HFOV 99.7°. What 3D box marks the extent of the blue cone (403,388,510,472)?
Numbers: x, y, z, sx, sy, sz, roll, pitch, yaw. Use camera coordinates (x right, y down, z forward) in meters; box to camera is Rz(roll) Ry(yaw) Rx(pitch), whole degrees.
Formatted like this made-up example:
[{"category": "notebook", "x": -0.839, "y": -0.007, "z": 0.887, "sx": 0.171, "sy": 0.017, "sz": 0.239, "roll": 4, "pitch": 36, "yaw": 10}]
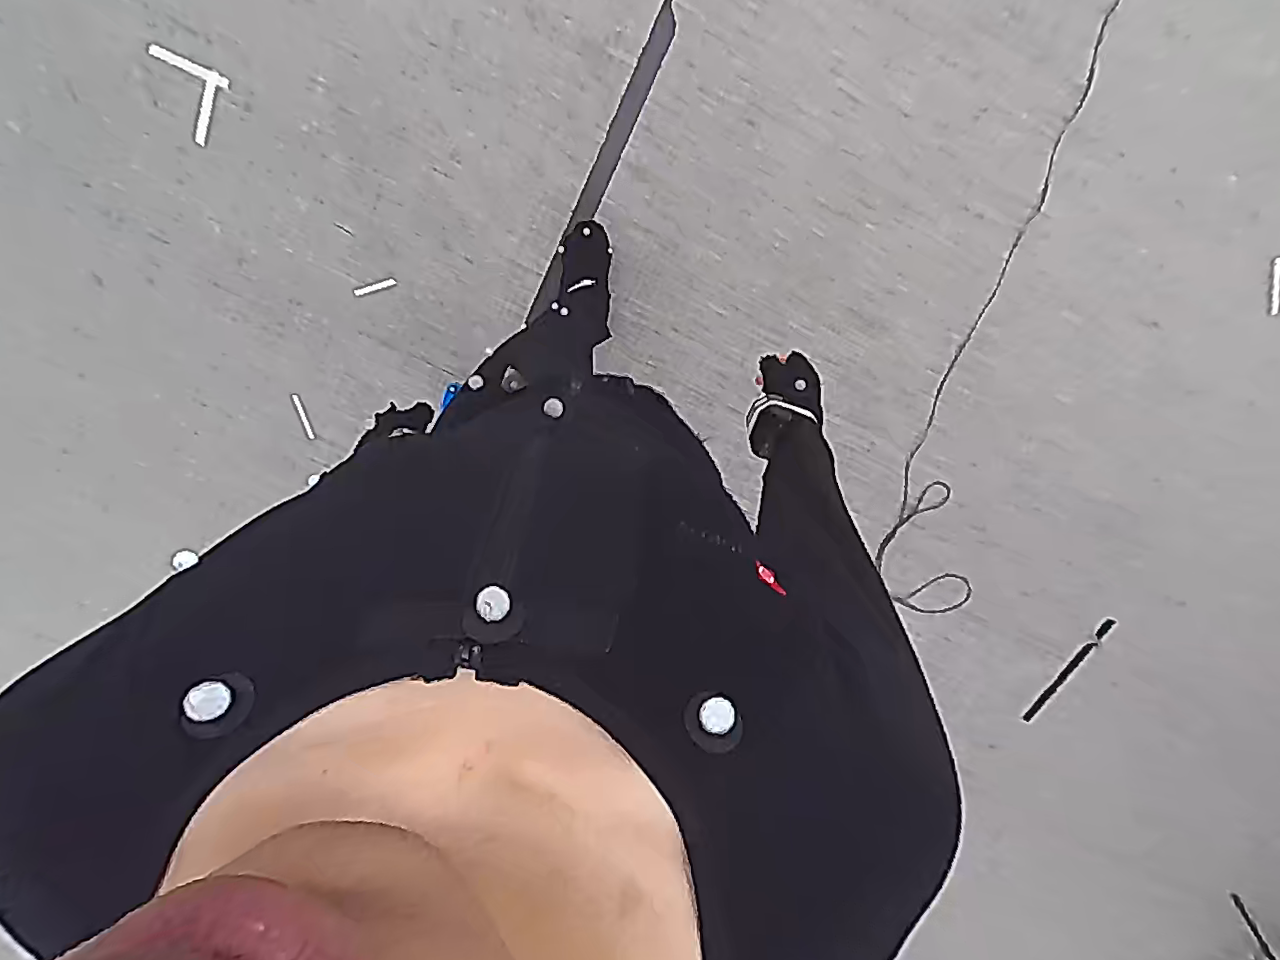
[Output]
[{"category": "blue cone", "x": -0.447, "y": -0.087, "z": 1.264, "sx": 0.192, "sy": 0.380, "sz": 0.193, "roll": 22, "pitch": 104, "yaw": -5}]
